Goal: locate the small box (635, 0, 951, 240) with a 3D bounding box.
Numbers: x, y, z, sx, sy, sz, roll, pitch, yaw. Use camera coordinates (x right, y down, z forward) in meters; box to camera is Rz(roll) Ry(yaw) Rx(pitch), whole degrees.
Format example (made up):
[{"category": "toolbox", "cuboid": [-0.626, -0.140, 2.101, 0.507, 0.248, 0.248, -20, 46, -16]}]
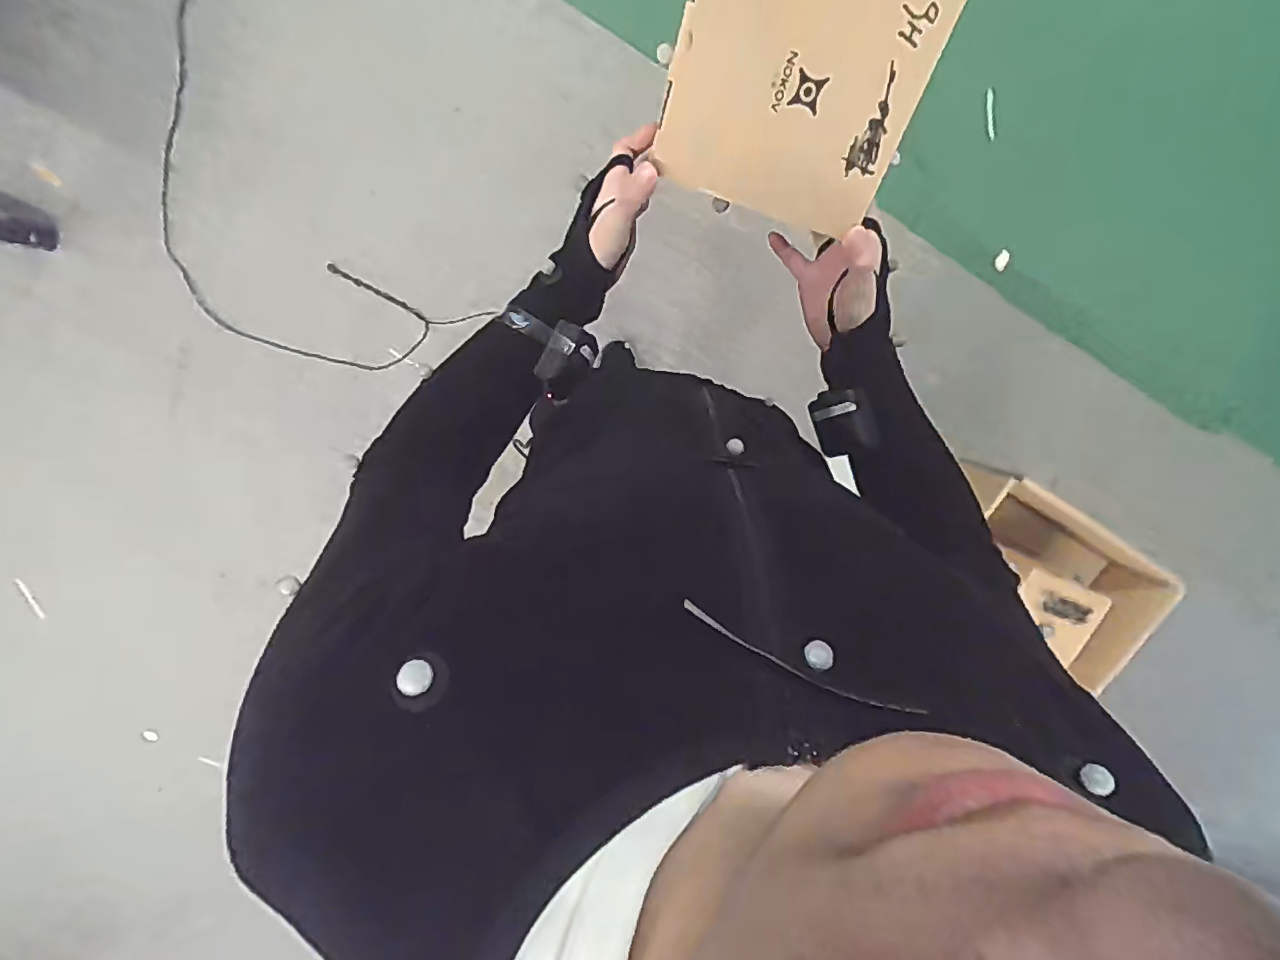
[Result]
[{"category": "small box", "cuboid": [0.104, -0.320, 0.451, 0.179, 0.176, 0.168, 15, 122, -7]}]
